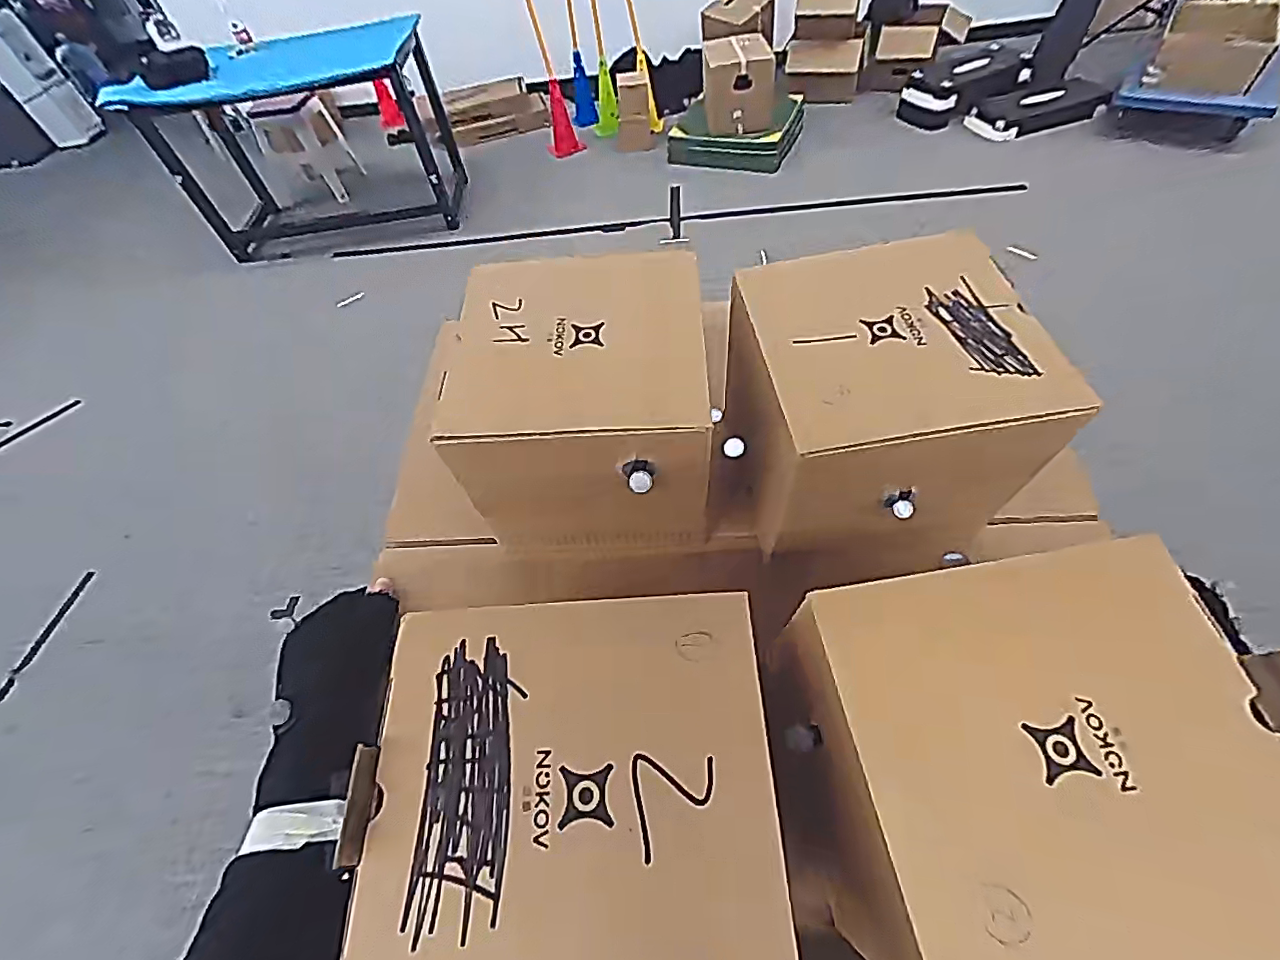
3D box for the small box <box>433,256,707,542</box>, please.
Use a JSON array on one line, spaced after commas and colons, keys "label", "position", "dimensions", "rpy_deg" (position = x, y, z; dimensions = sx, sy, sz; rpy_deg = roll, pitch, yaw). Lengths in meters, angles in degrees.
[{"label": "small box", "position": [-0.038, -0.057, 0.446], "dimensions": [0.179, 0.176, 0.168], "rpy_deg": [-2, 58, 5]}]
